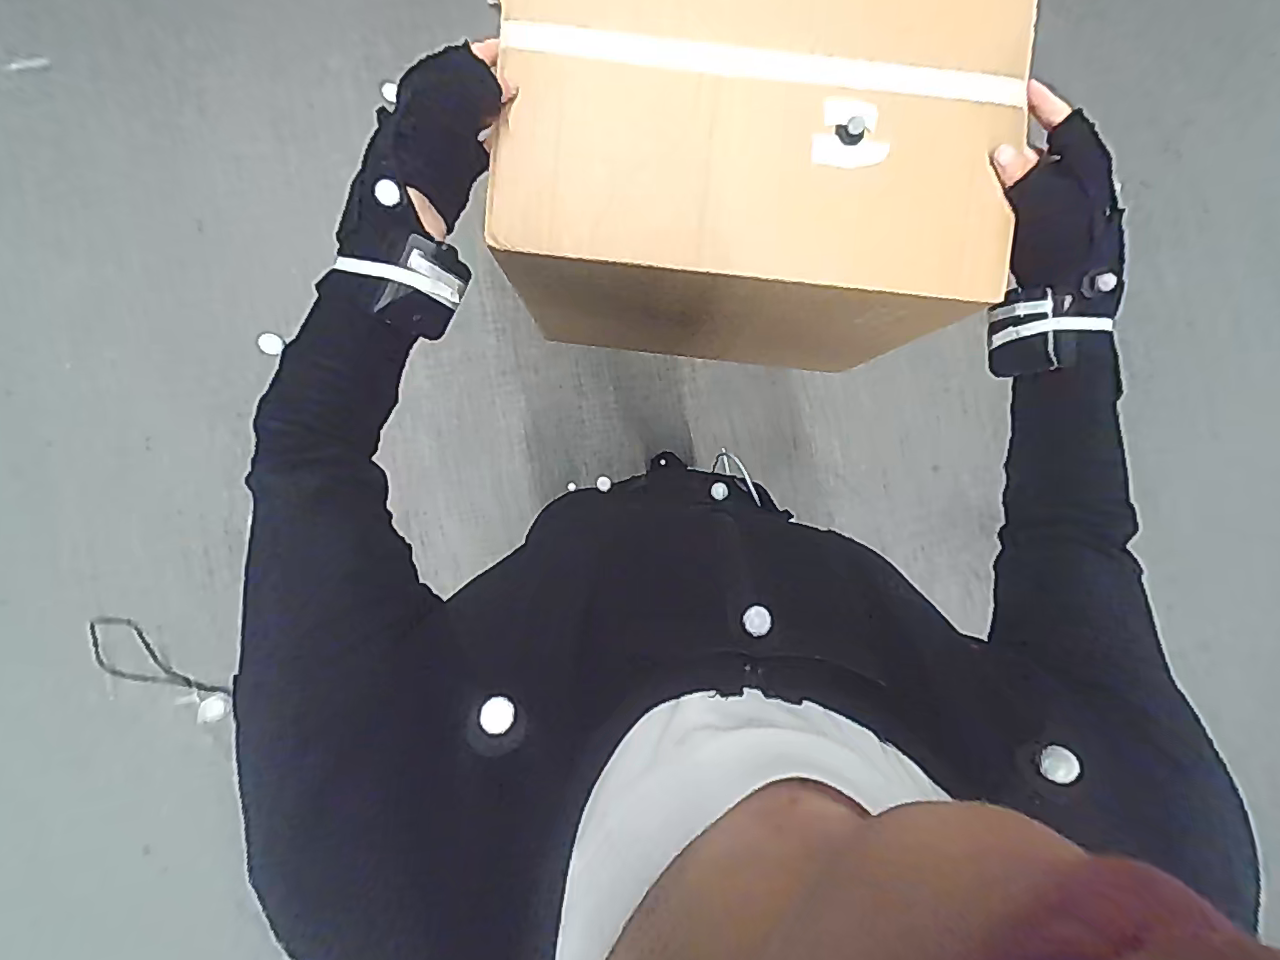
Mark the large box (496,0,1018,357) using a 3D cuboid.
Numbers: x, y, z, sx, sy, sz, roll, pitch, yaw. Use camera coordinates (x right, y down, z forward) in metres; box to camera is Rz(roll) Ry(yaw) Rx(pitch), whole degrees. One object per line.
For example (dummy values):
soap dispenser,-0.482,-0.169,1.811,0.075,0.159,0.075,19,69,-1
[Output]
large box,0.088,-0.325,0.571,0.408,0.320,0.320,5,92,-2
